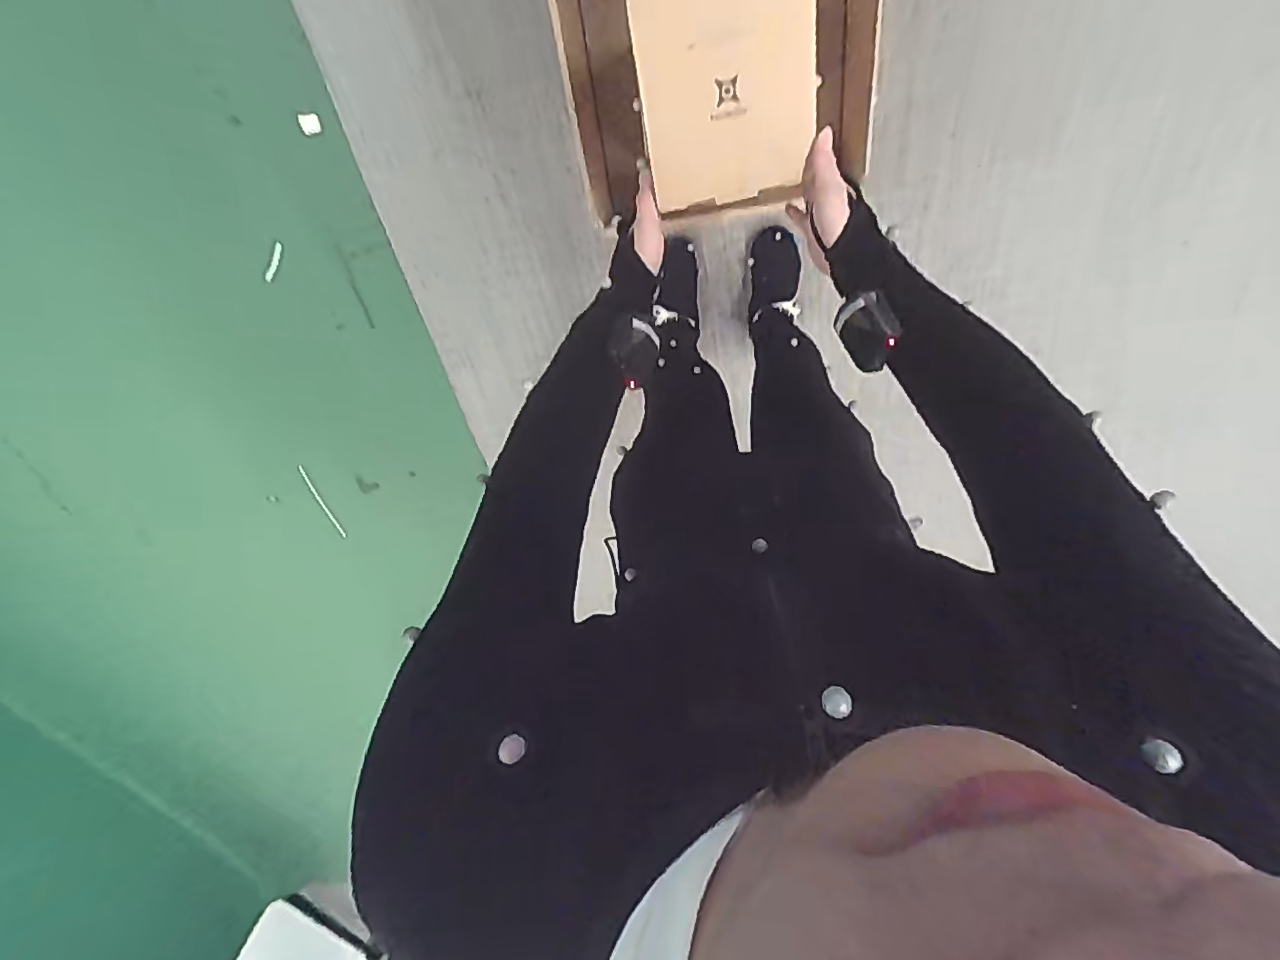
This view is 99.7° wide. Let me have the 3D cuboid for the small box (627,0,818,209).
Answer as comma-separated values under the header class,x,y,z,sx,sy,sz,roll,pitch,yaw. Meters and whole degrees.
class,x,y,z,sx,sy,sz,roll,pitch,yaw
small box,0.084,-0.407,0.573,0.168,0.176,0.179,-9,122,5
